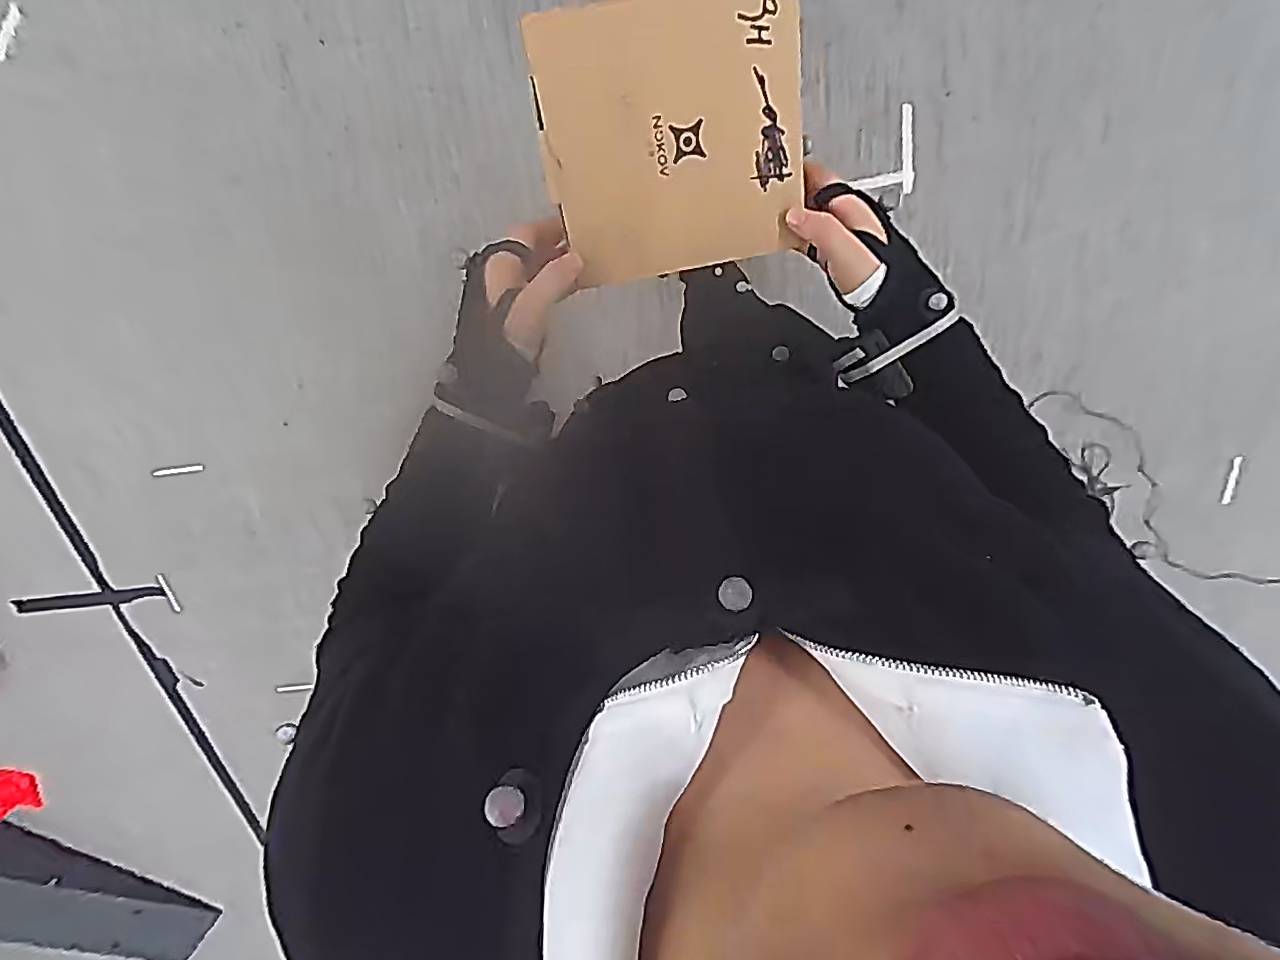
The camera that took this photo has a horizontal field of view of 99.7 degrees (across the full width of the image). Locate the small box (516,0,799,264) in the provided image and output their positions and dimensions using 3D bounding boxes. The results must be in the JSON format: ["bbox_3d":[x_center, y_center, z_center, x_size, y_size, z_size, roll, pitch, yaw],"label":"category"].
[{"bbox_3d":[0.018,-0.282,0.438,0.179,0.176,0.168,-10,118,2],"label":"small box"}]
